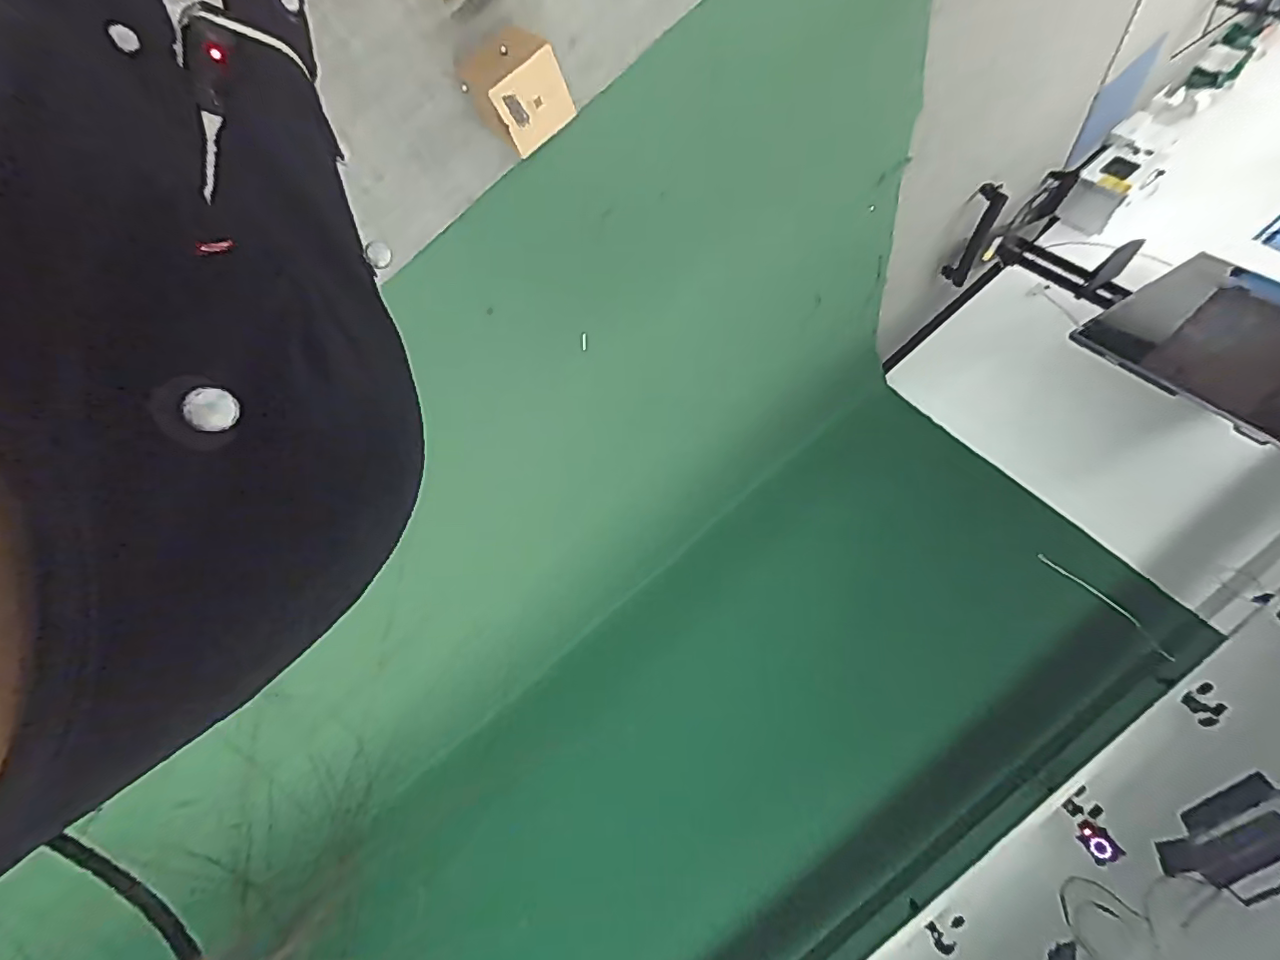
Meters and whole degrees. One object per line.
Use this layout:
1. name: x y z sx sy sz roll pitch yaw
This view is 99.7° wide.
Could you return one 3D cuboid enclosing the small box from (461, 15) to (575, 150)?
1. small box: -0.288 -0.923 1.256 0.179 0.176 0.168 -41 154 -2
